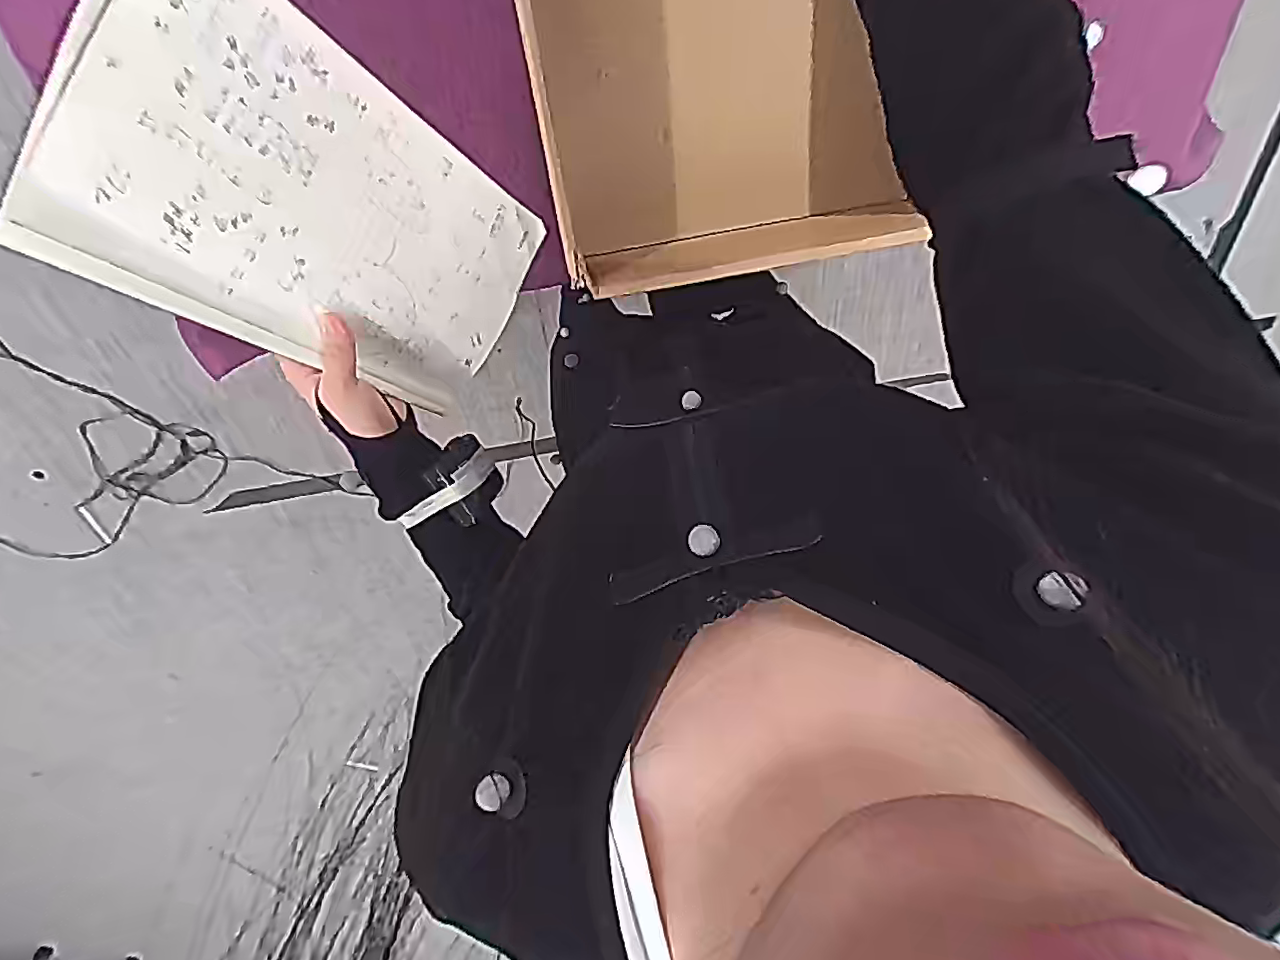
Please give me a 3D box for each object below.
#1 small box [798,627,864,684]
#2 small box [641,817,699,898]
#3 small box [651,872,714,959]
[{"bbox_3d":[0.780,0.744,2.234,0.168,0.176,0.179,31,114,-28],"label":"small box"},{"bbox_3d":[0.101,1.329,1.907,0.179,0.176,0.168,-9,125,-8],"label":"small box"},{"bbox_3d":[0.135,1.429,1.780,0.168,0.176,0.179,-7,125,-9],"label":"small box"}]
